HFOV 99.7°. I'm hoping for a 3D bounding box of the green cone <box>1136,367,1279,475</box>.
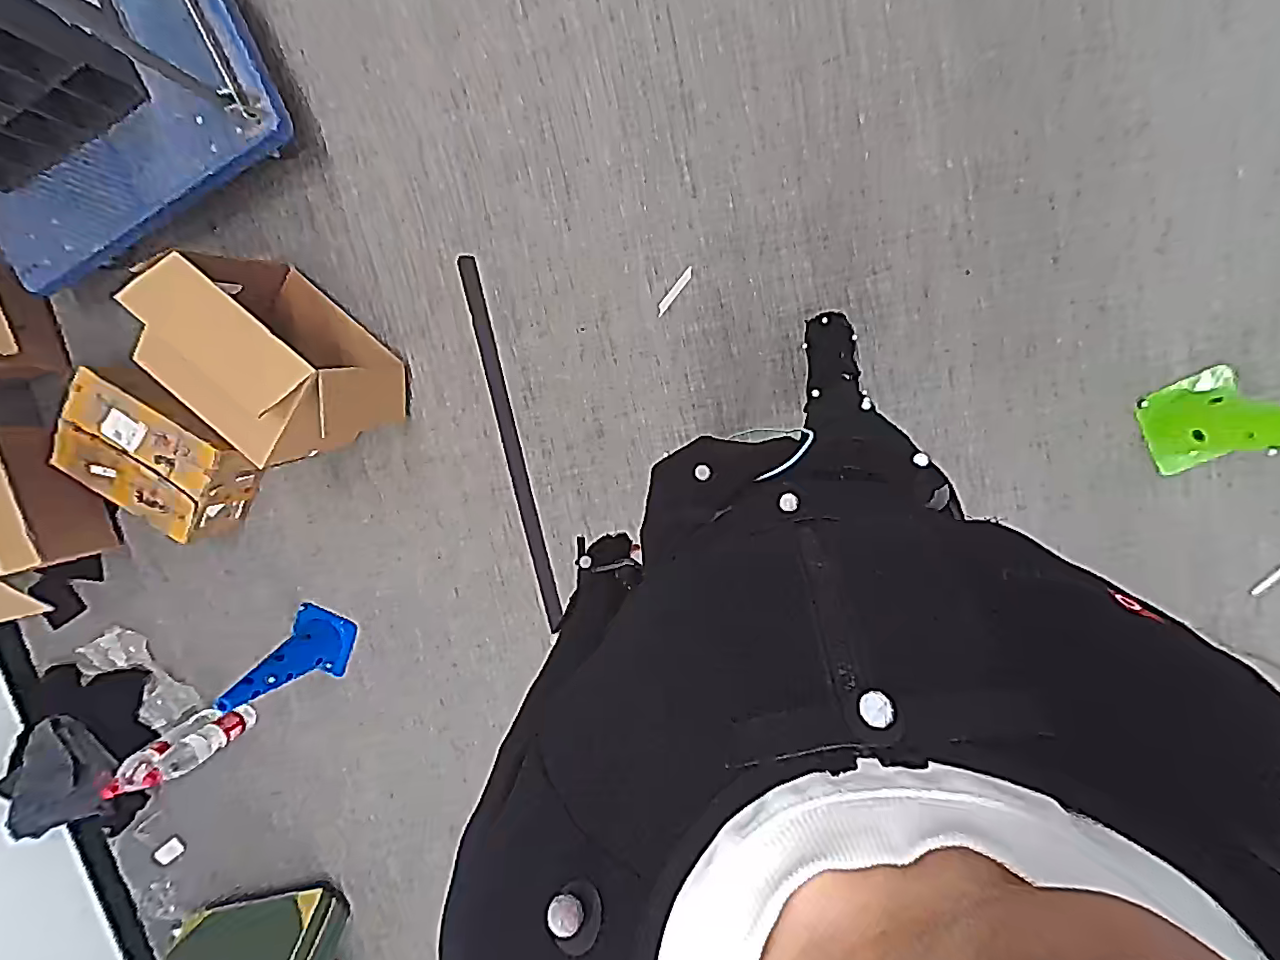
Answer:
[{"bbox_3d":[1.248,-0.102,1.070,0.202,0.368,0.200,-27,96,11],"label":"green cone"}]
